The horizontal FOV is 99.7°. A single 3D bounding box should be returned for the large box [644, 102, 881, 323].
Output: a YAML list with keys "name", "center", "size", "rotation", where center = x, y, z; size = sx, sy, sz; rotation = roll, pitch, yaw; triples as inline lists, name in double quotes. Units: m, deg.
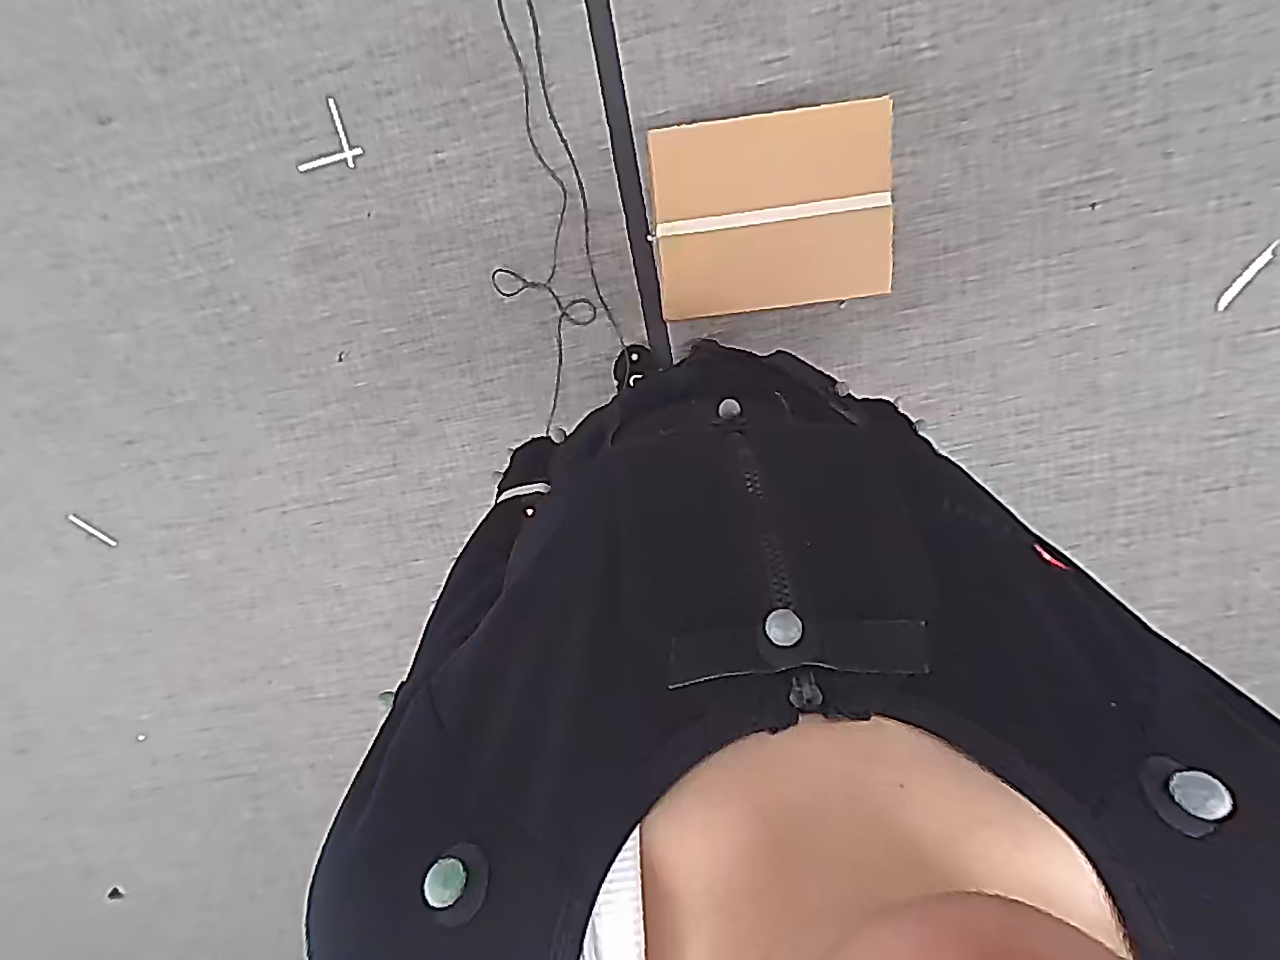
- name: "large box"
  center: [0.226, -0.501, 1.089]
  size: [0.408, 0.320, 0.320]
  rotation: [-6, 105, 3]
